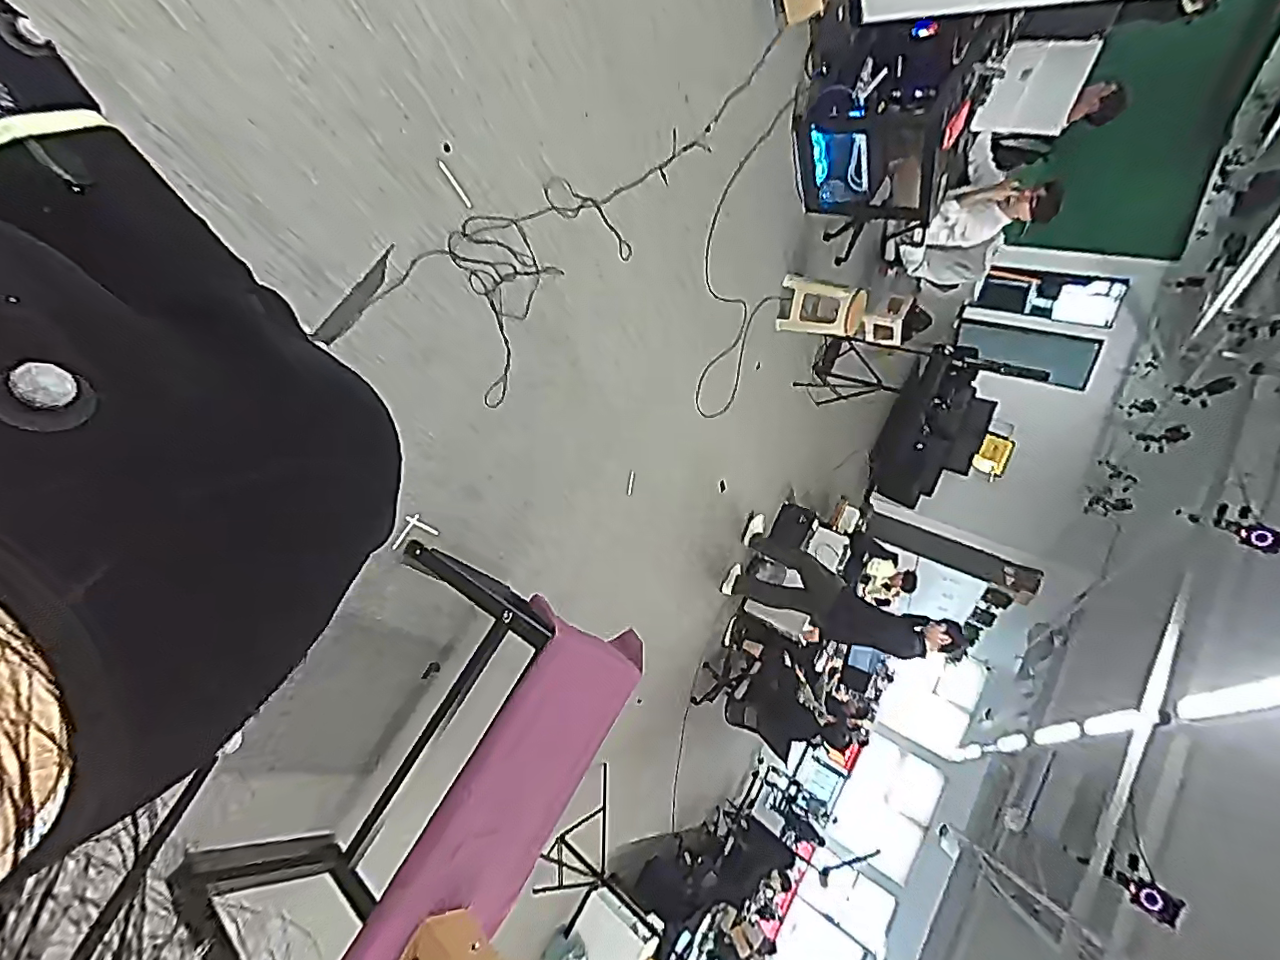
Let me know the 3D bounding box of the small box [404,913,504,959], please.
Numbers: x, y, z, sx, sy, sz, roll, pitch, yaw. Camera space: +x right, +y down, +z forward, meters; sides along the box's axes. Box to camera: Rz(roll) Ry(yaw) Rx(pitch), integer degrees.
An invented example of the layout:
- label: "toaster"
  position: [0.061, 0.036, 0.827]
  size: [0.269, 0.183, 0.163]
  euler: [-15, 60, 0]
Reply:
- label: "small box"
  position: [-0.494, 1.260, 1.389]
  size: [0.168, 0.176, 0.179]
  euler: [-57, 146, -16]
